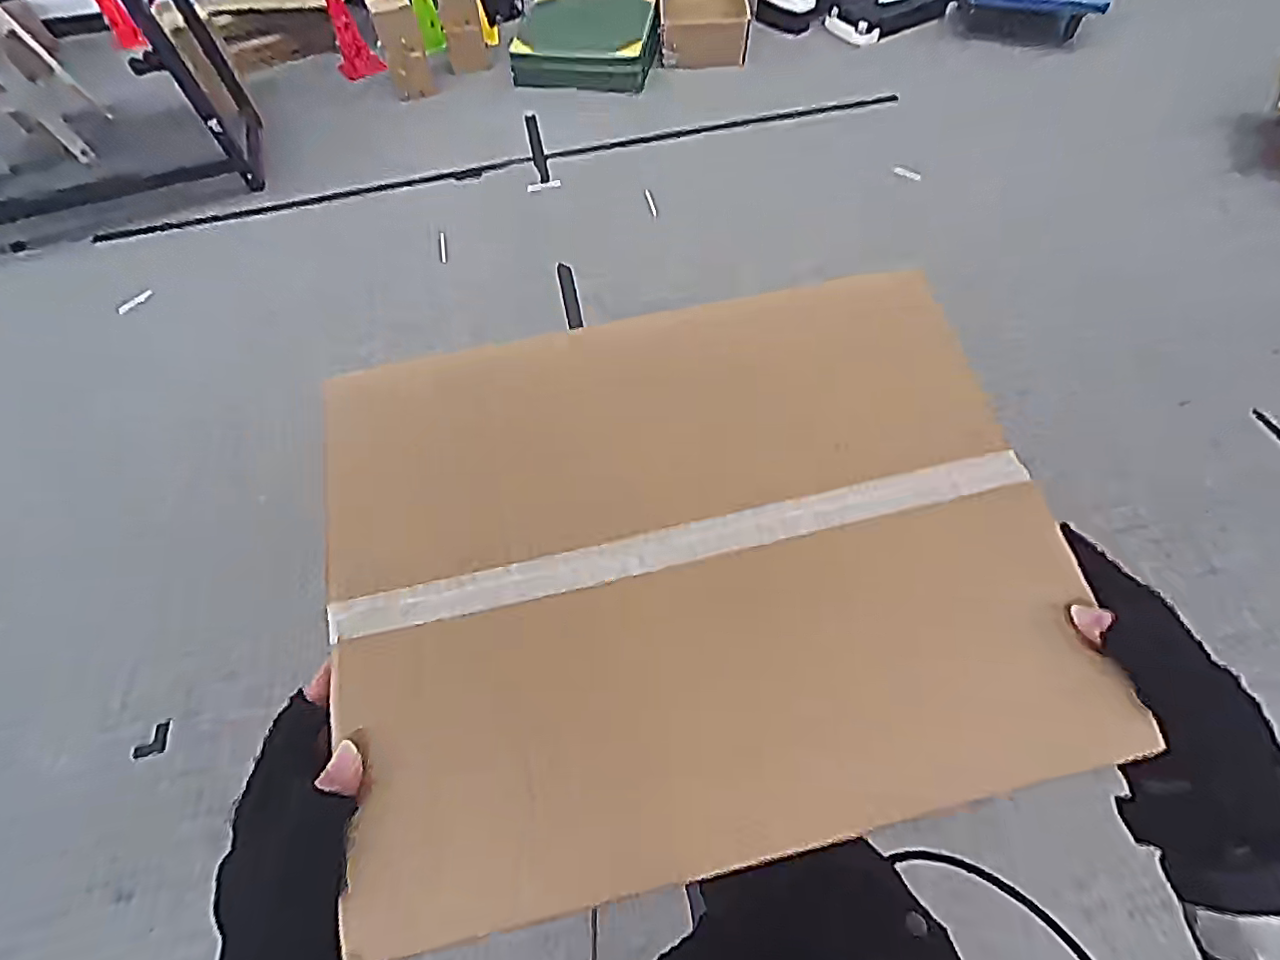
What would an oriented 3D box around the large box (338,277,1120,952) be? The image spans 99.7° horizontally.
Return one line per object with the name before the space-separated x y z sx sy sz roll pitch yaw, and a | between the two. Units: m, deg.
large box | 0.032 0.088 0.458 0.408 0.320 0.320 -13 70 -4
